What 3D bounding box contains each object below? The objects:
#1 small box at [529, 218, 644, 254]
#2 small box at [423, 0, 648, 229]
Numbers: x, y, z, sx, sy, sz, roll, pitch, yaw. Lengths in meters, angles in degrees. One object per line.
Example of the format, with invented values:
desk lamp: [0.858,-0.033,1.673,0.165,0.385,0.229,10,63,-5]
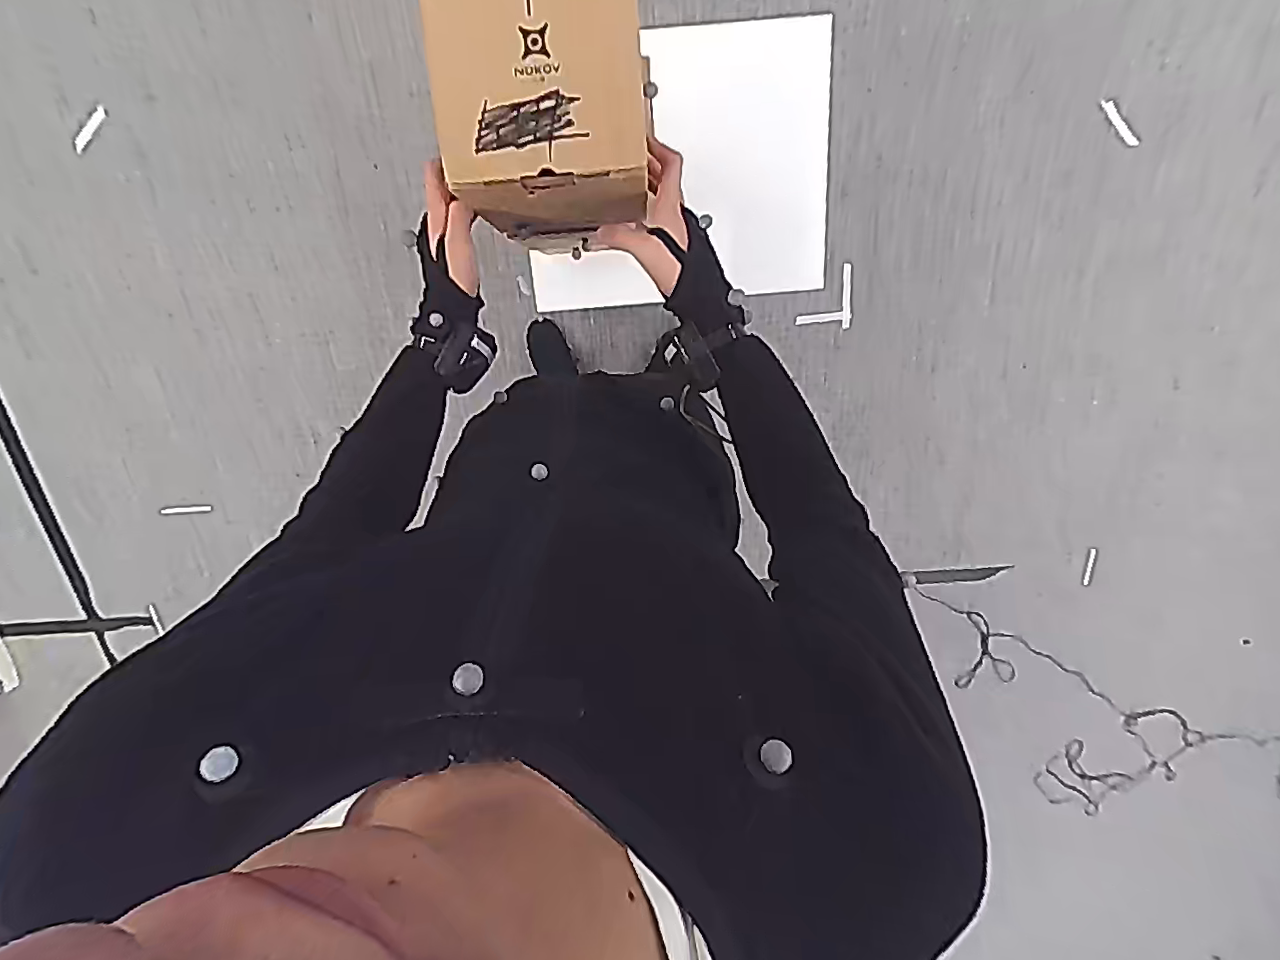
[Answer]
small box: [-0.081,-0.439,0.815,0.168,0.176,0.179,-4,109,-1]
small box: [-0.078,-0.339,0.493,0.168,0.176,0.179,-4,102,1]
